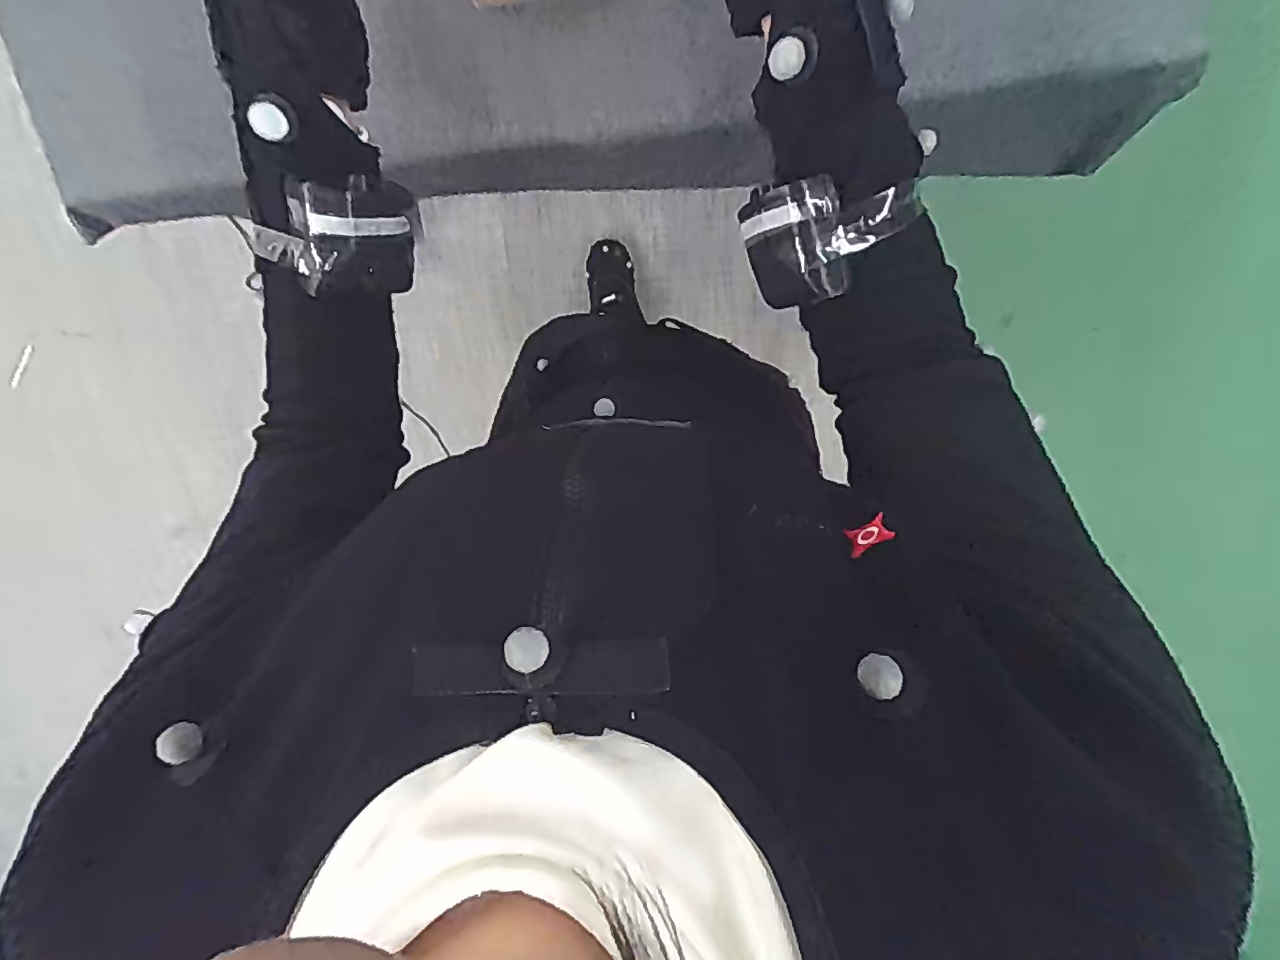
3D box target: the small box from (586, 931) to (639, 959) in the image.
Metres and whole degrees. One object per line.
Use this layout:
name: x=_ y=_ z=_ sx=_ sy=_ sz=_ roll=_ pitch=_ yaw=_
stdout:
small box: x=-0.102 y=1.768 z=1.945 sx=0.179 sy=0.176 sz=0.168 roll=-5 pitch=107 yaw=5
